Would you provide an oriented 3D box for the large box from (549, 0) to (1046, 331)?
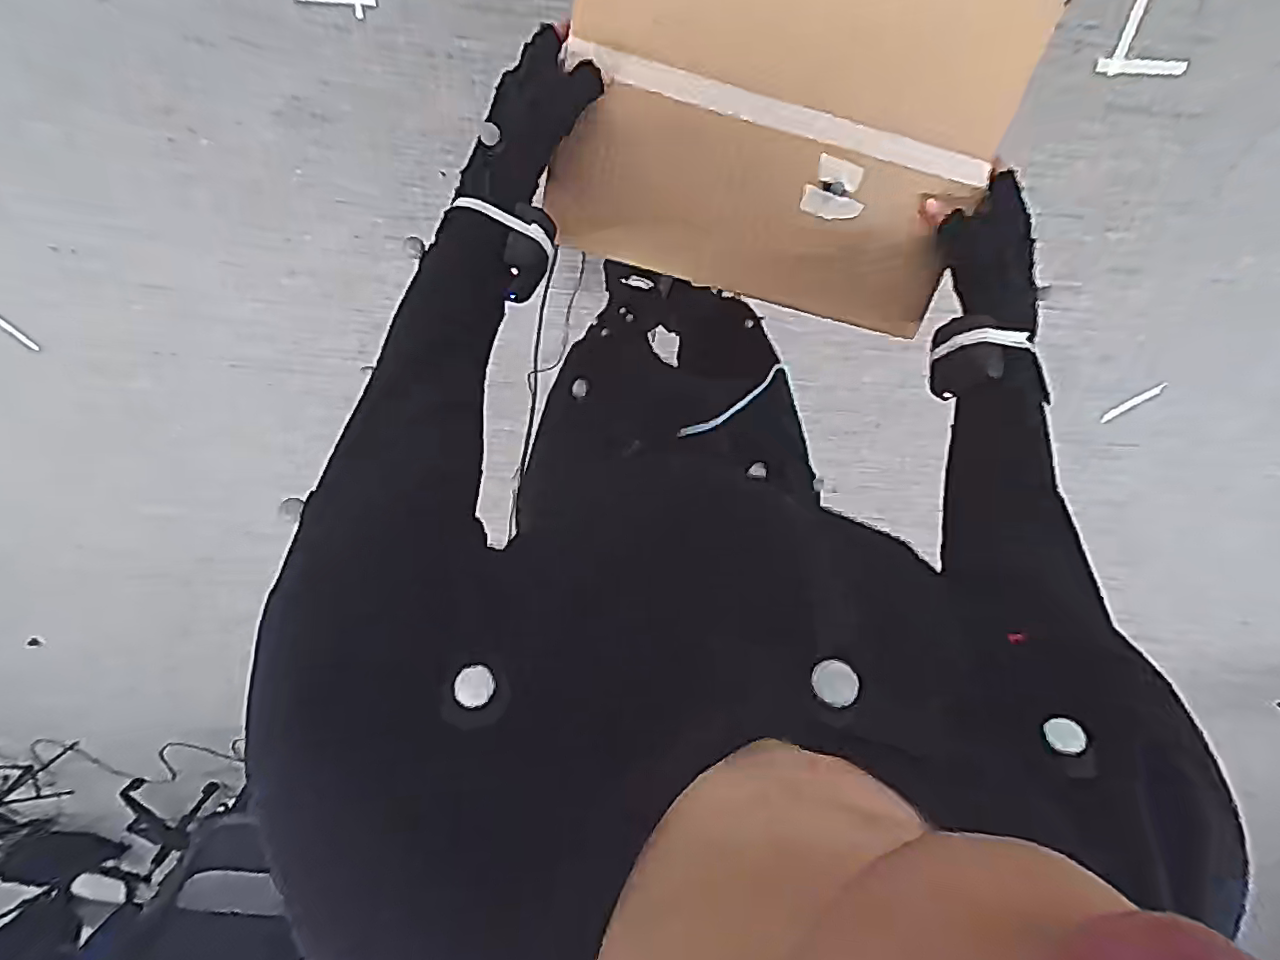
[{"bbox_3d":[0.131,-0.399,0.651,0.408,0.320,0.320,14,114,-6],"label":"large box"}]
